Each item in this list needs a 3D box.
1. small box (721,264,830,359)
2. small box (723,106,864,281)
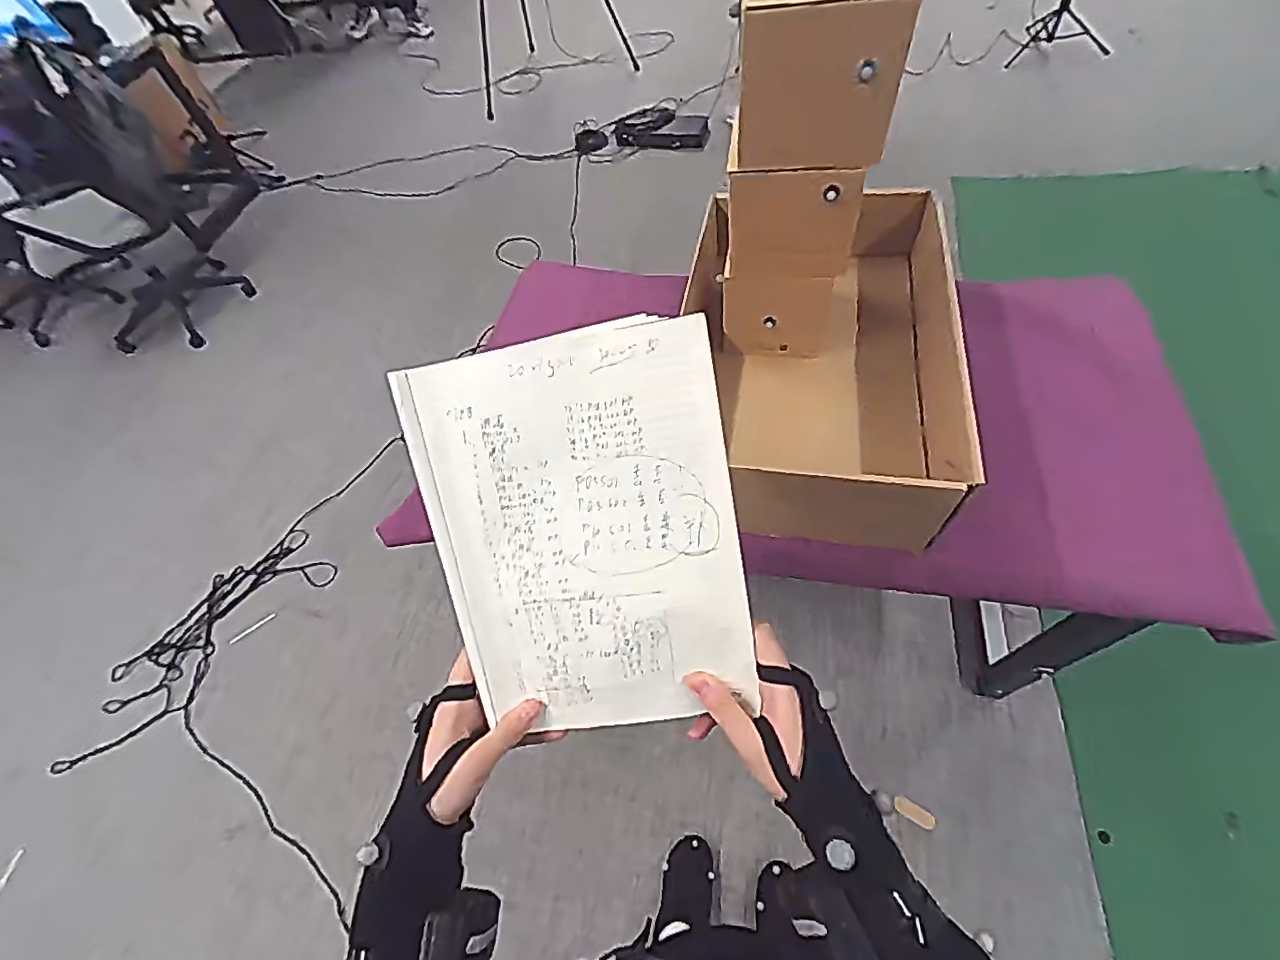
[{"bbox_3d":[0.233,-0.328,0.928,0.168,0.176,0.179,6,60,13],"label":"small box"},{"bbox_3d":[0.216,-0.410,0.790,0.179,0.176,0.168,4,59,11],"label":"small box"}]
